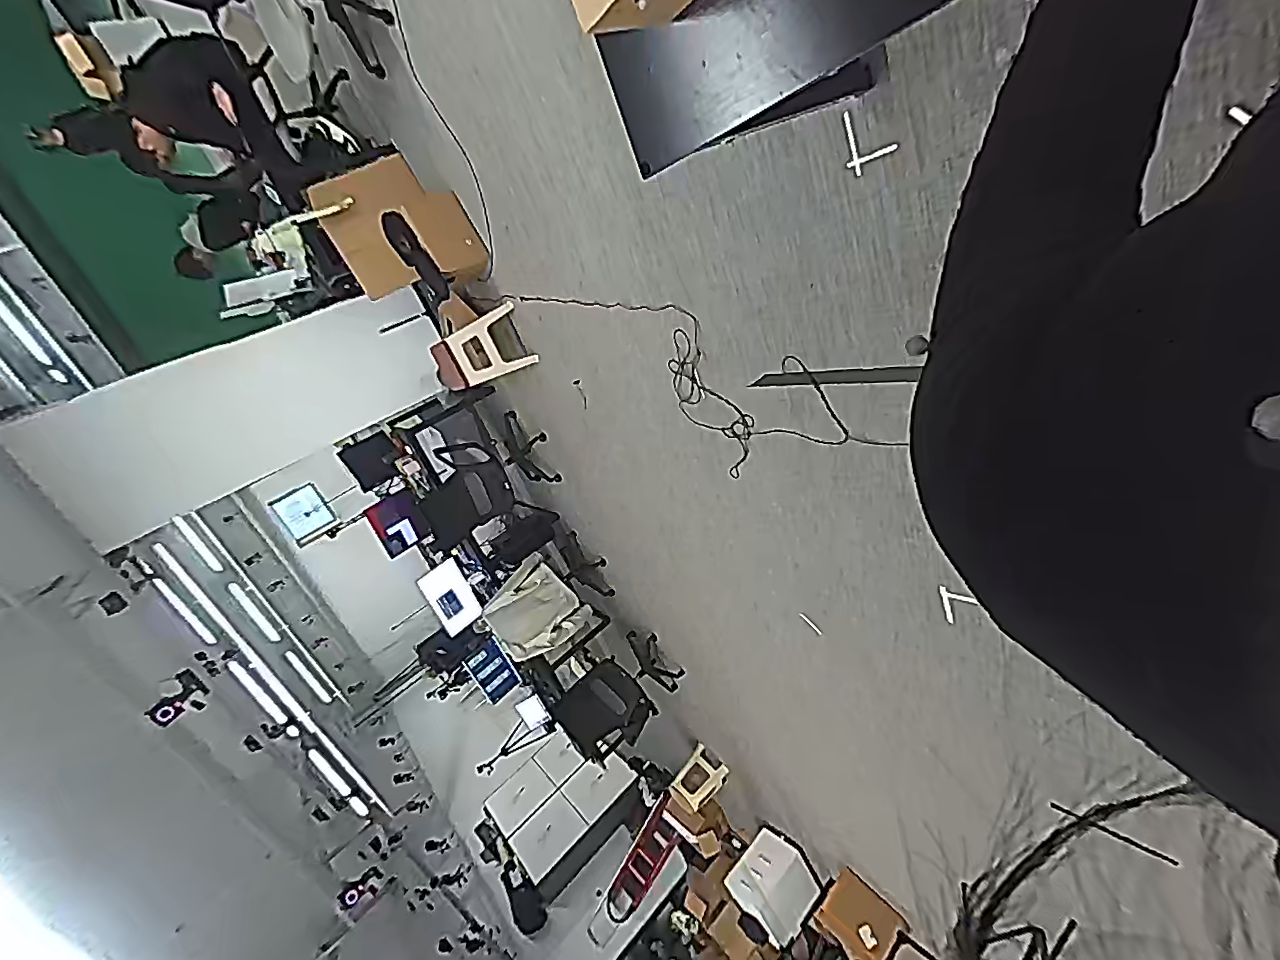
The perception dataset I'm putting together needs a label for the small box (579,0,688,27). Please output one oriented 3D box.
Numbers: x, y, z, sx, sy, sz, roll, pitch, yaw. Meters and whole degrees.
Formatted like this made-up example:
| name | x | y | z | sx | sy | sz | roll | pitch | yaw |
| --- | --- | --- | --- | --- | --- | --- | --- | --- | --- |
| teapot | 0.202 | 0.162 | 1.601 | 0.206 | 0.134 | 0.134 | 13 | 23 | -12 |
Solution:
| name | x | y | z | sx | sy | sz | roll | pitch | yaw |
| --- | --- | --- | --- | --- | --- | --- | --- | --- | --- |
| small box | 0.010 | -0.714 | 0.673 | 0.179 | 0.176 | 0.168 | 6 | 126 | 53 |
